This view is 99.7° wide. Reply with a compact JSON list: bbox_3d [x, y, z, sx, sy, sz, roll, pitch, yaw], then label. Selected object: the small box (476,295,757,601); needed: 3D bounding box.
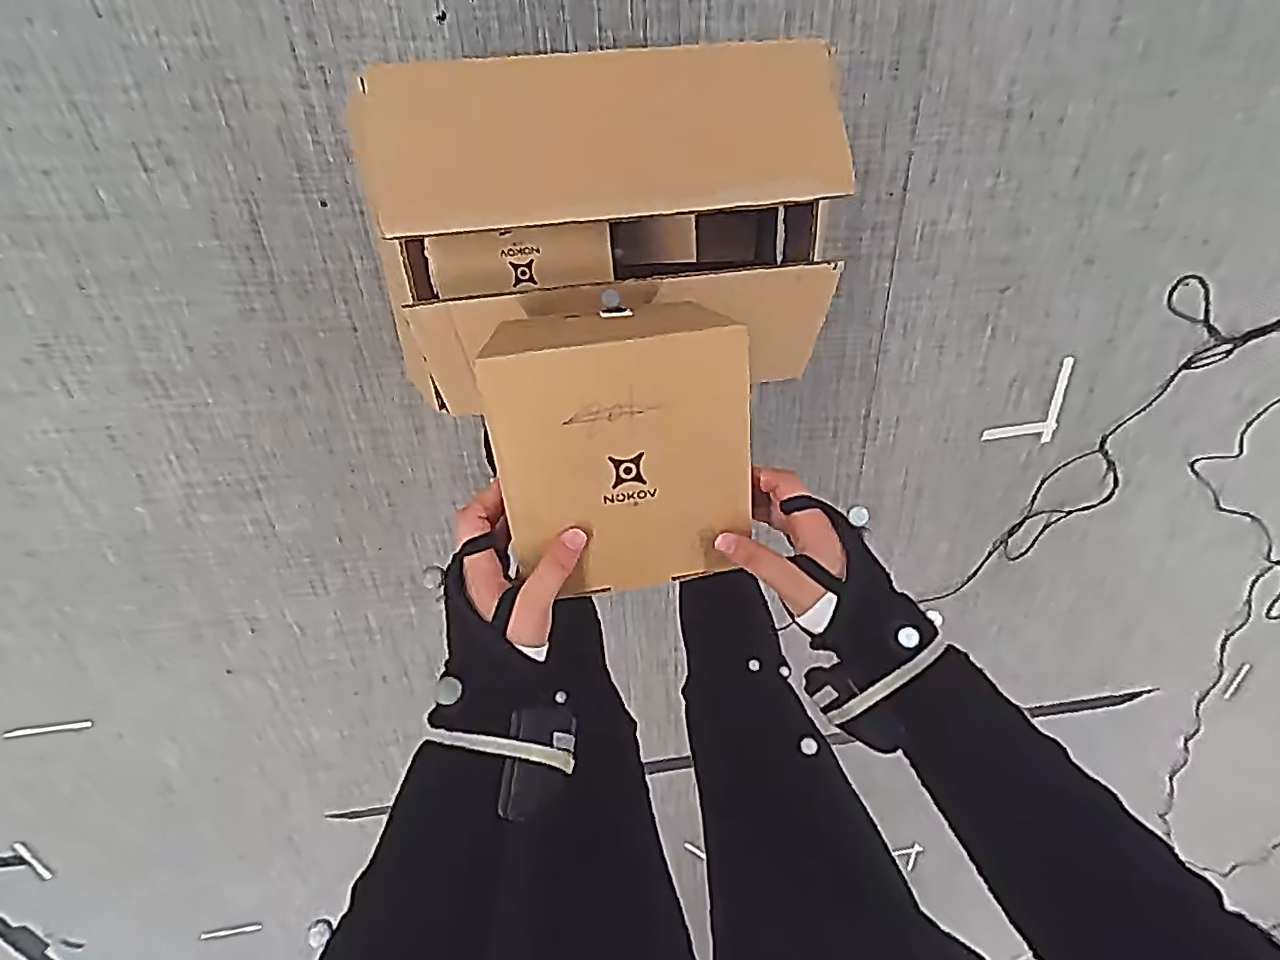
[{"bbox_3d":[-0.015,-0.037,0.417,0.168,0.176,0.179,-9,114,-5],"label":"small box"}]
